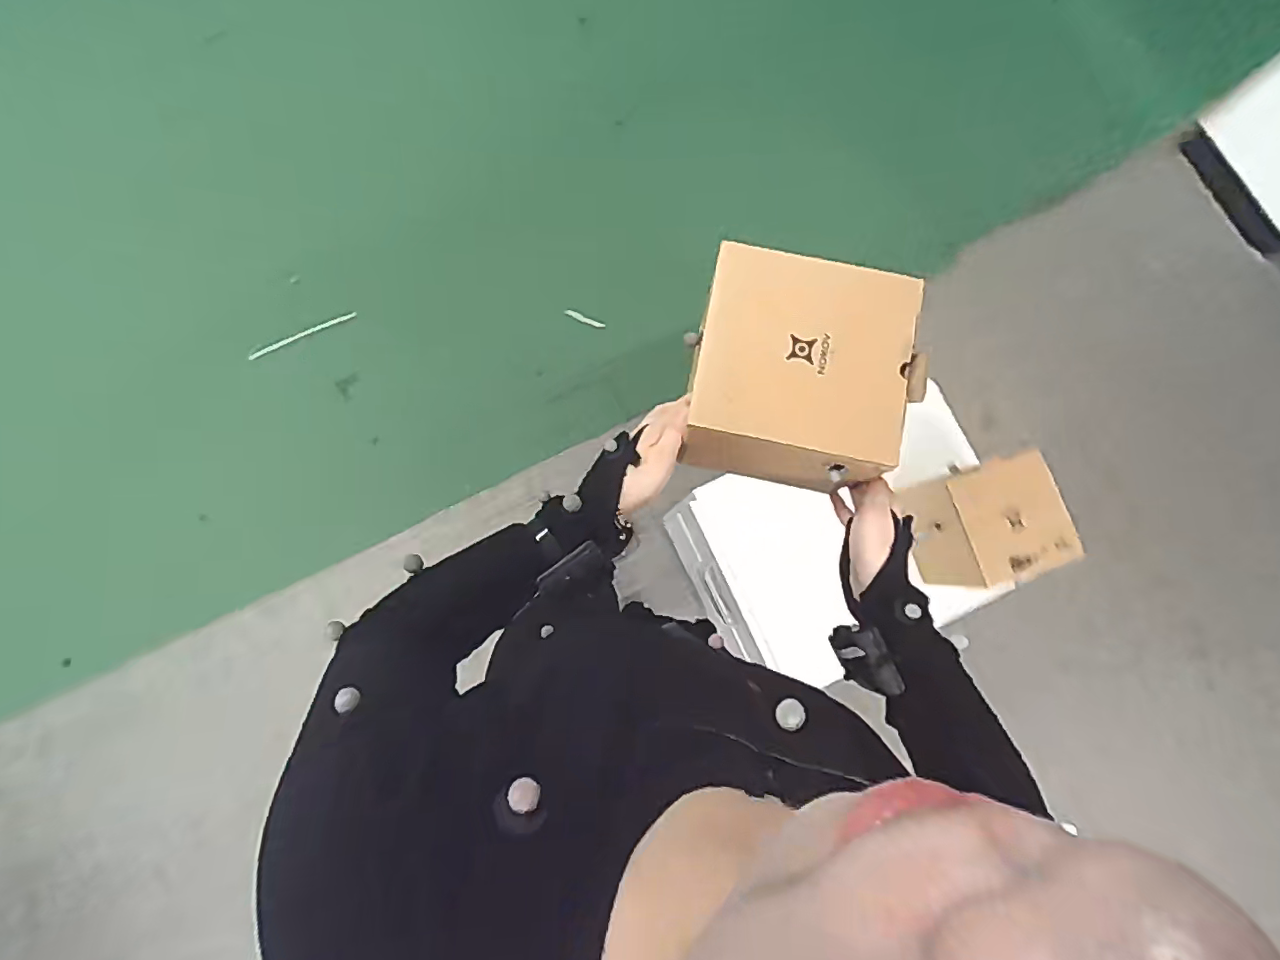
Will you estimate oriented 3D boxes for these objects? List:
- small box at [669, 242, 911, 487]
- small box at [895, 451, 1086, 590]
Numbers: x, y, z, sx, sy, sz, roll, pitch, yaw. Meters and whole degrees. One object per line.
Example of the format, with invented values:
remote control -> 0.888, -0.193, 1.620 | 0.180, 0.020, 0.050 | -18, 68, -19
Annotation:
small box -> 0.128, -0.095, 0.523 | 0.179, 0.176, 0.168 | 11, 81, 1
small box -> 0.554, 0.073, 0.883 | 0.168, 0.176, 0.179 | -17, 81, -5
